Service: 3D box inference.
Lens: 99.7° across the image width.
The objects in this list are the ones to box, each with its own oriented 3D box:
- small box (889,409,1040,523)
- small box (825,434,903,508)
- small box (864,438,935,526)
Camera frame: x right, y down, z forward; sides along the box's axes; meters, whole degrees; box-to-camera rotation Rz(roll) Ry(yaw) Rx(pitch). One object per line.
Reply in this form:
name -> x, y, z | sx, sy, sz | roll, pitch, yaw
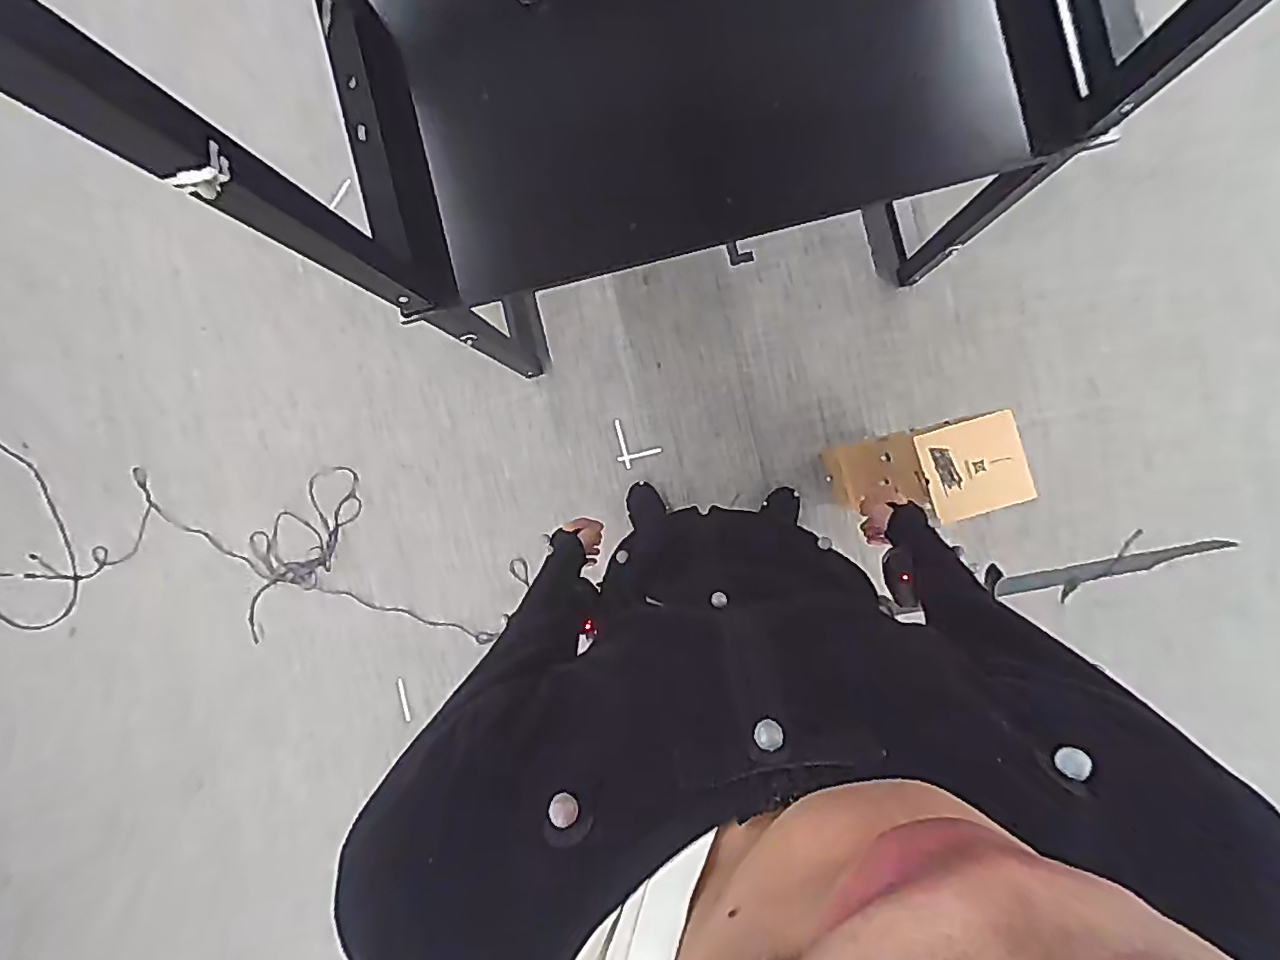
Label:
small box -> 0.593, -0.024, 1.020 | 0.179, 0.176, 0.168 | -17, 90, 5
small box -> 0.639, -0.026, 1.509 | 0.179, 0.176, 0.168 | -15, 90, 6
small box -> 0.615, -0.013, 1.183 | 0.168, 0.176, 0.179 | -16, 90, 5
